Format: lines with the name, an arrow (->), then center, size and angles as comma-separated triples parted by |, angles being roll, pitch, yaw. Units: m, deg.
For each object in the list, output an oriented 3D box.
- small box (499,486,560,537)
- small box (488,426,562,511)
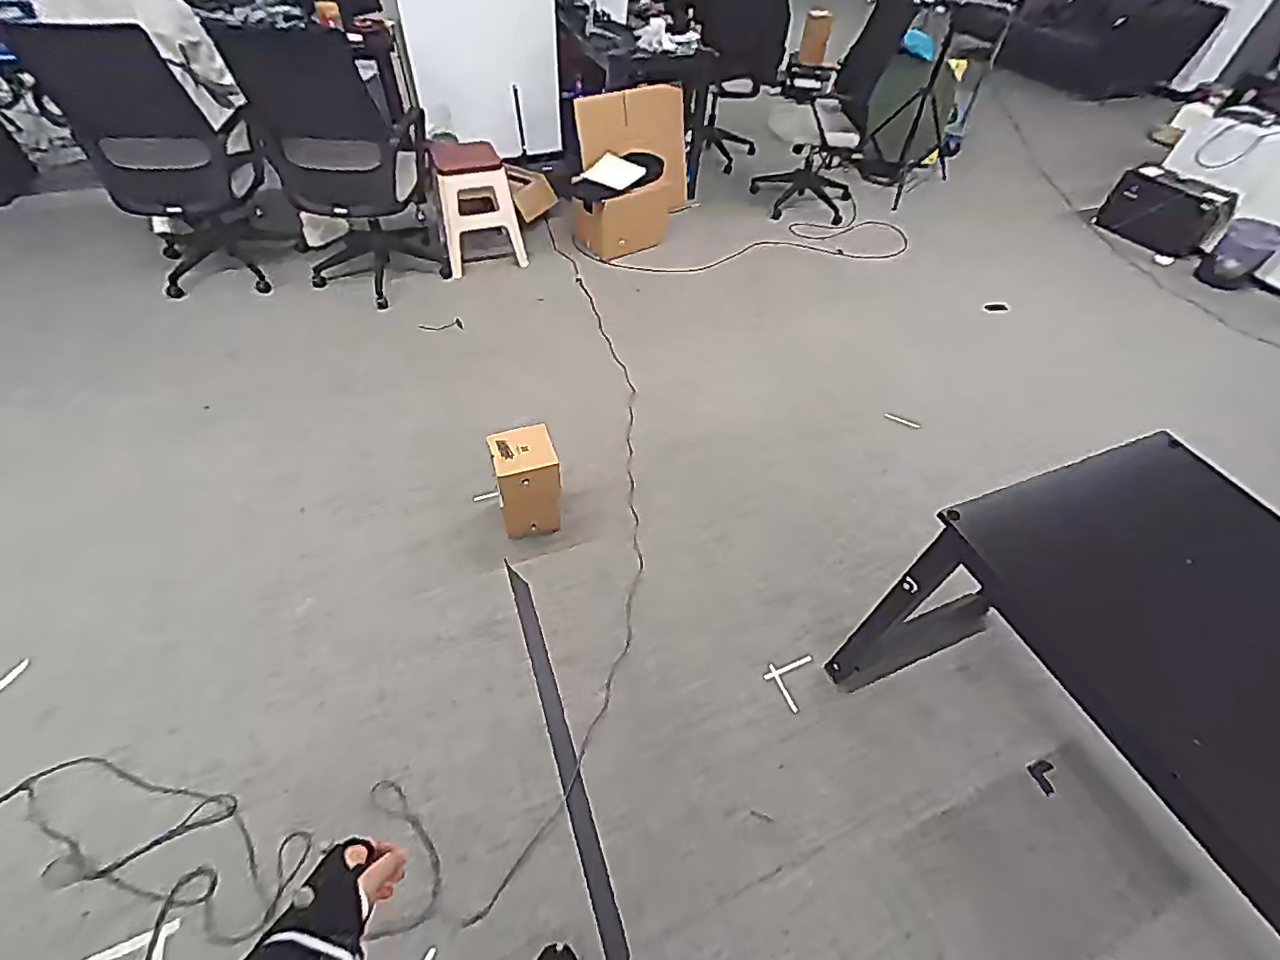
small box -> -0.356, 0.063, 1.744 | 0.179, 0.176, 0.168 | -10, 52, -12
small box -> -0.338, -0.030, 1.608 | 0.179, 0.176, 0.168 | -14, 54, -15
